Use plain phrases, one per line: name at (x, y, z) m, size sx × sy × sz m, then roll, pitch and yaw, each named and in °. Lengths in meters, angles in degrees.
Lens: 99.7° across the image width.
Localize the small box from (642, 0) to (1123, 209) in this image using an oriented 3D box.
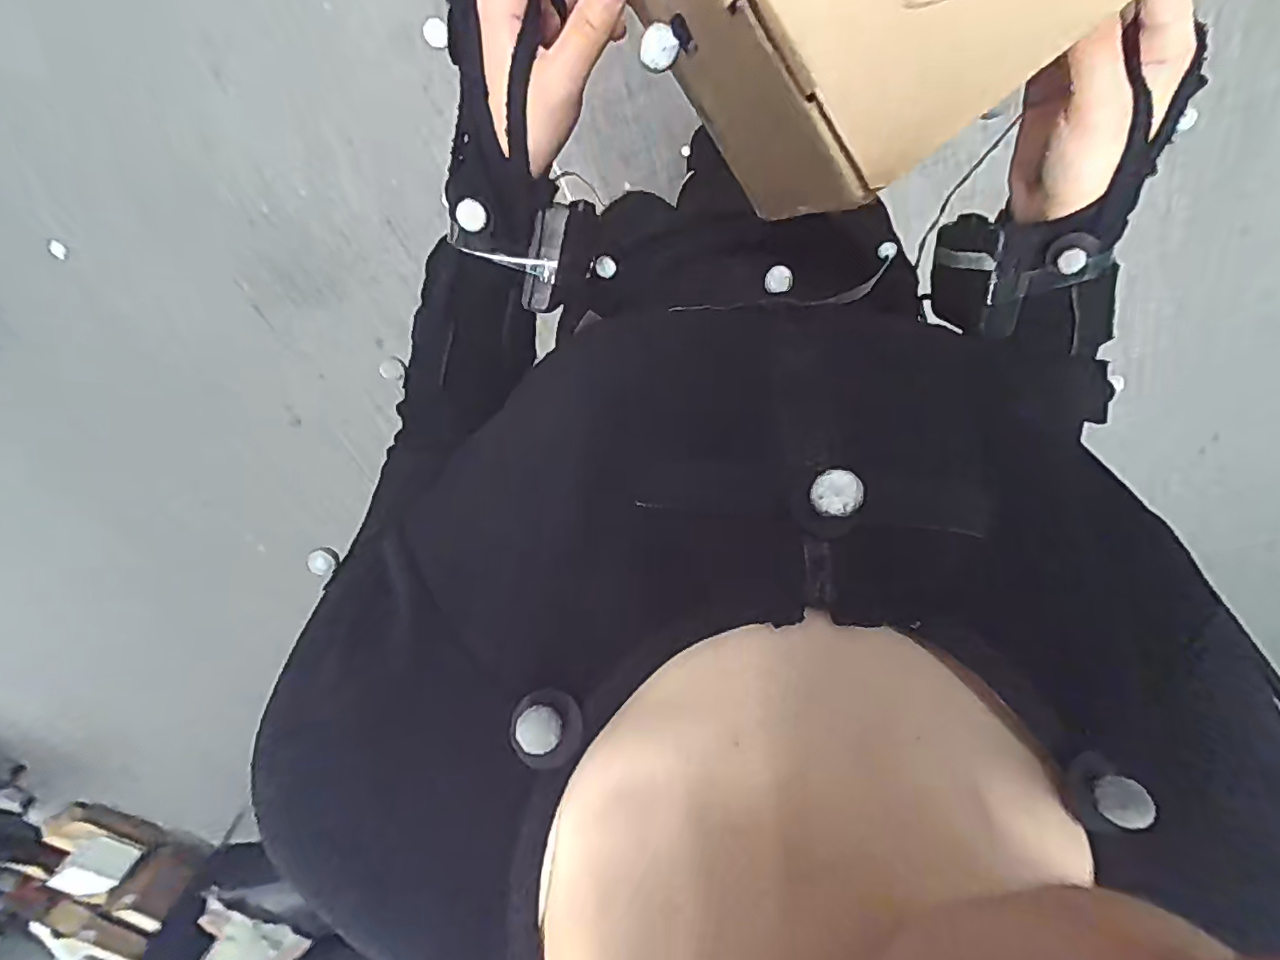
small box at (0.084, -0.213, 0.175) m, size 0.179 × 0.176 × 0.168 m, roll -34°, pitch 107°, yaw 18°
